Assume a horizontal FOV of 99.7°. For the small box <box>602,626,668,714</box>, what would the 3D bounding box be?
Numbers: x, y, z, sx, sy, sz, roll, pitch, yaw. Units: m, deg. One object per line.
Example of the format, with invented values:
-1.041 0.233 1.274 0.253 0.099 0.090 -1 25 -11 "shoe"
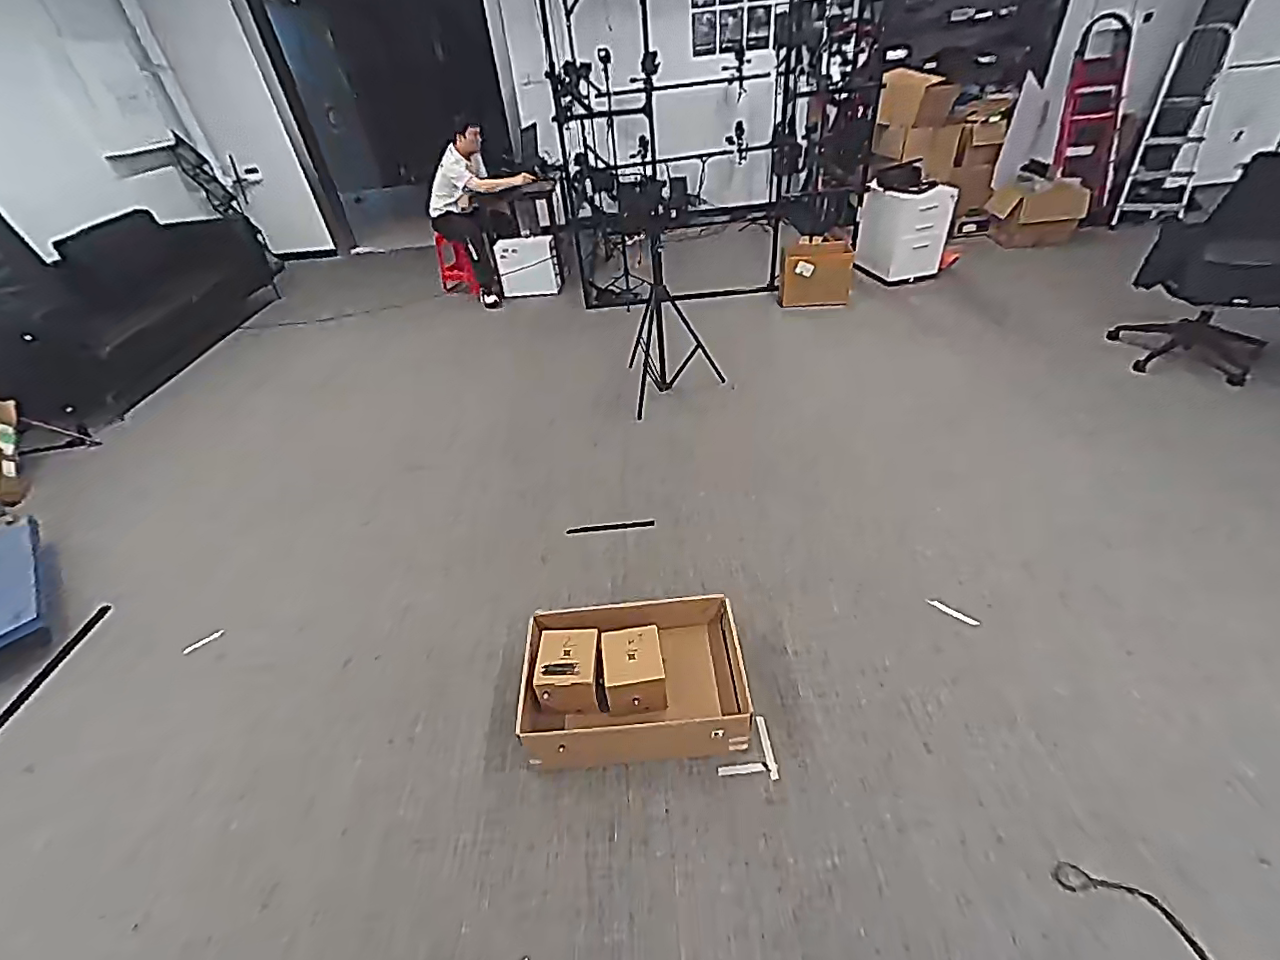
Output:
-0.015 0.552 1.558 0.168 0.176 0.179 -8 39 -3 "small box"
